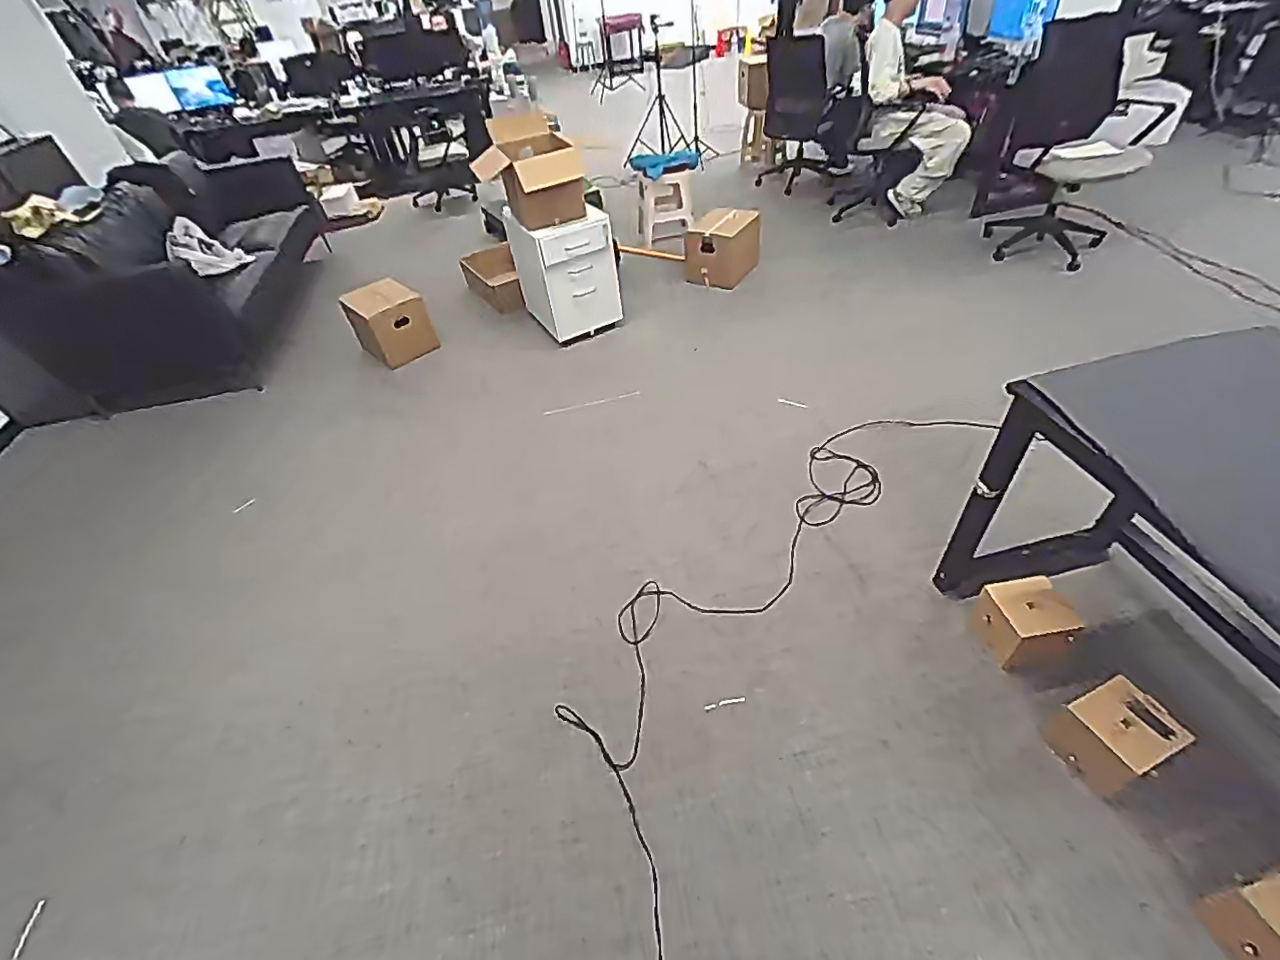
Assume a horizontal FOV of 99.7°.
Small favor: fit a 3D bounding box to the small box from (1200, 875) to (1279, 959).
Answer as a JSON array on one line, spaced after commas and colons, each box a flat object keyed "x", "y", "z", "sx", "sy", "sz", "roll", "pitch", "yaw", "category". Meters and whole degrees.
[{"x": 1.198, "y": 0.844, "z": 0.986, "sx": 0.179, "sy": 0.176, "sz": 0.168, "roll": -16, "pitch": 44, "yaw": -8, "category": "small box"}]

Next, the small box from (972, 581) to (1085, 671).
[{"x": 1.044, "y": 0.403, "z": 1.480, "sx": 0.179, "sy": 0.176, "sz": 0.168, "roll": -9, "pitch": 43, "yaw": -2, "category": "small box"}]
